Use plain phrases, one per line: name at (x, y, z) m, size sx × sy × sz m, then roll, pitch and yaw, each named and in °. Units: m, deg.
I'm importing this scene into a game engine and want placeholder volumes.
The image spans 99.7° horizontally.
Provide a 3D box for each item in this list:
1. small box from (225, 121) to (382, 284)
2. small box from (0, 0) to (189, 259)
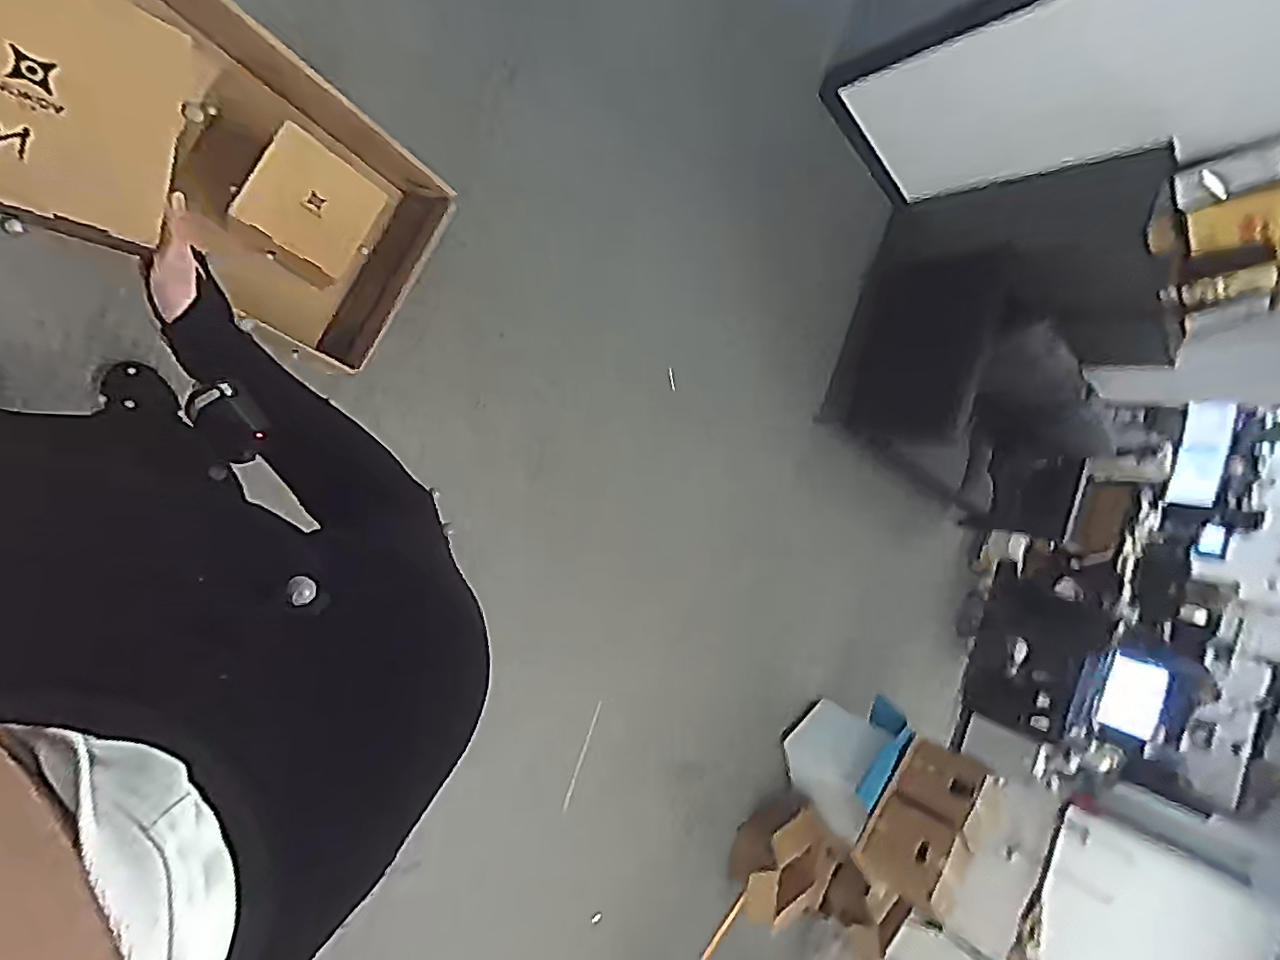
small box at (-0.584, -0.463, 0.933) m, size 0.168 × 0.176 × 0.179 m, roll 32°, pitch 81°, yaw -40°
small box at (-0.506, -0.300, 0.445) m, size 0.168 × 0.176 × 0.179 m, roll 8°, pitch 98°, yaw -50°
